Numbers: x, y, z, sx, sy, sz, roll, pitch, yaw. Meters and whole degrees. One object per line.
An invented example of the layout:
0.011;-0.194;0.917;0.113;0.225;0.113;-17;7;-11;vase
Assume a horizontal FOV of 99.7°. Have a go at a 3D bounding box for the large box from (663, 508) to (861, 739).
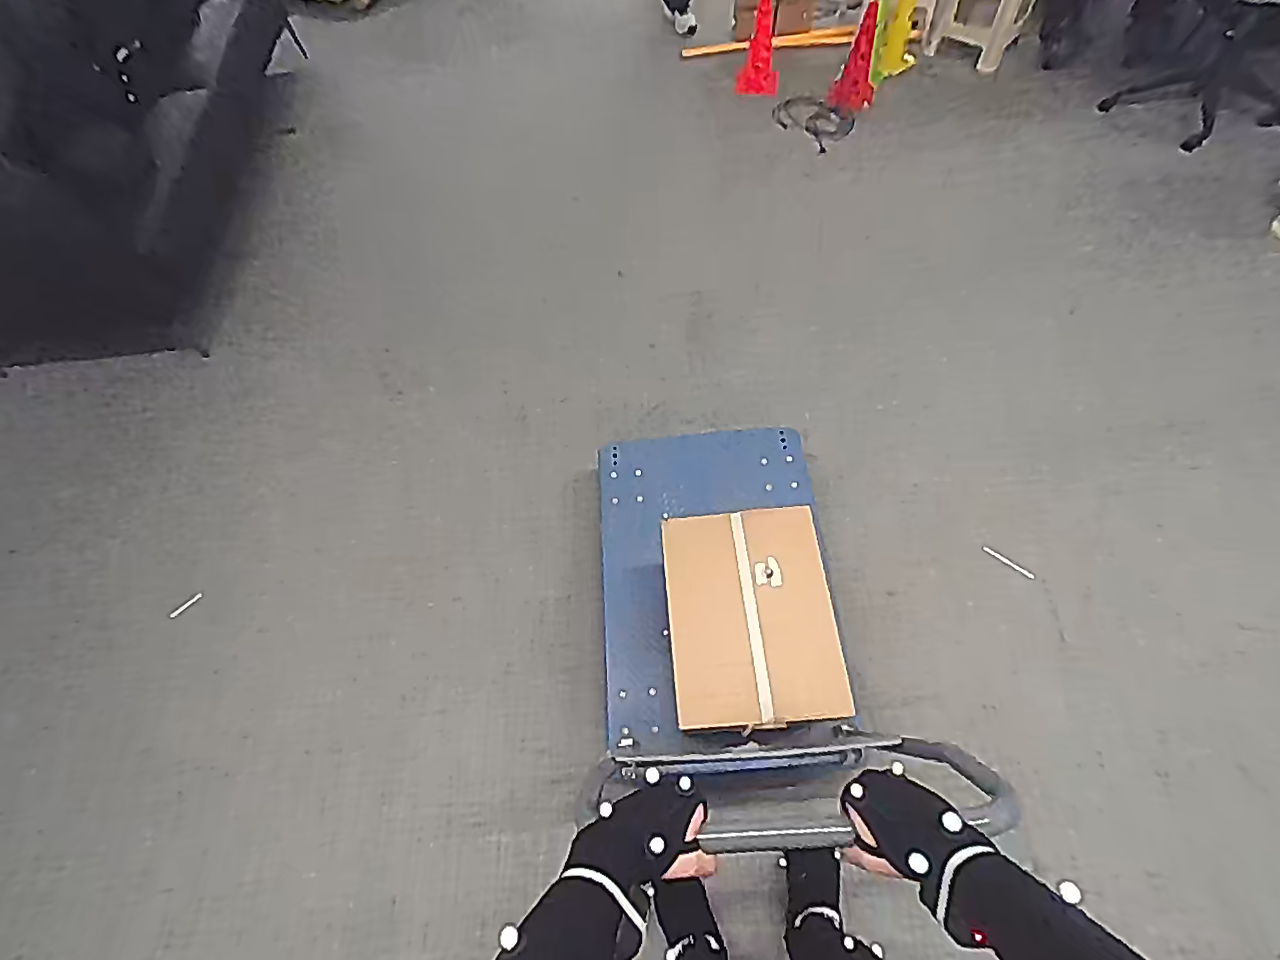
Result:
0.230;0.318;1.159;0.320;0.320;0.408;-6;62;2;large box
